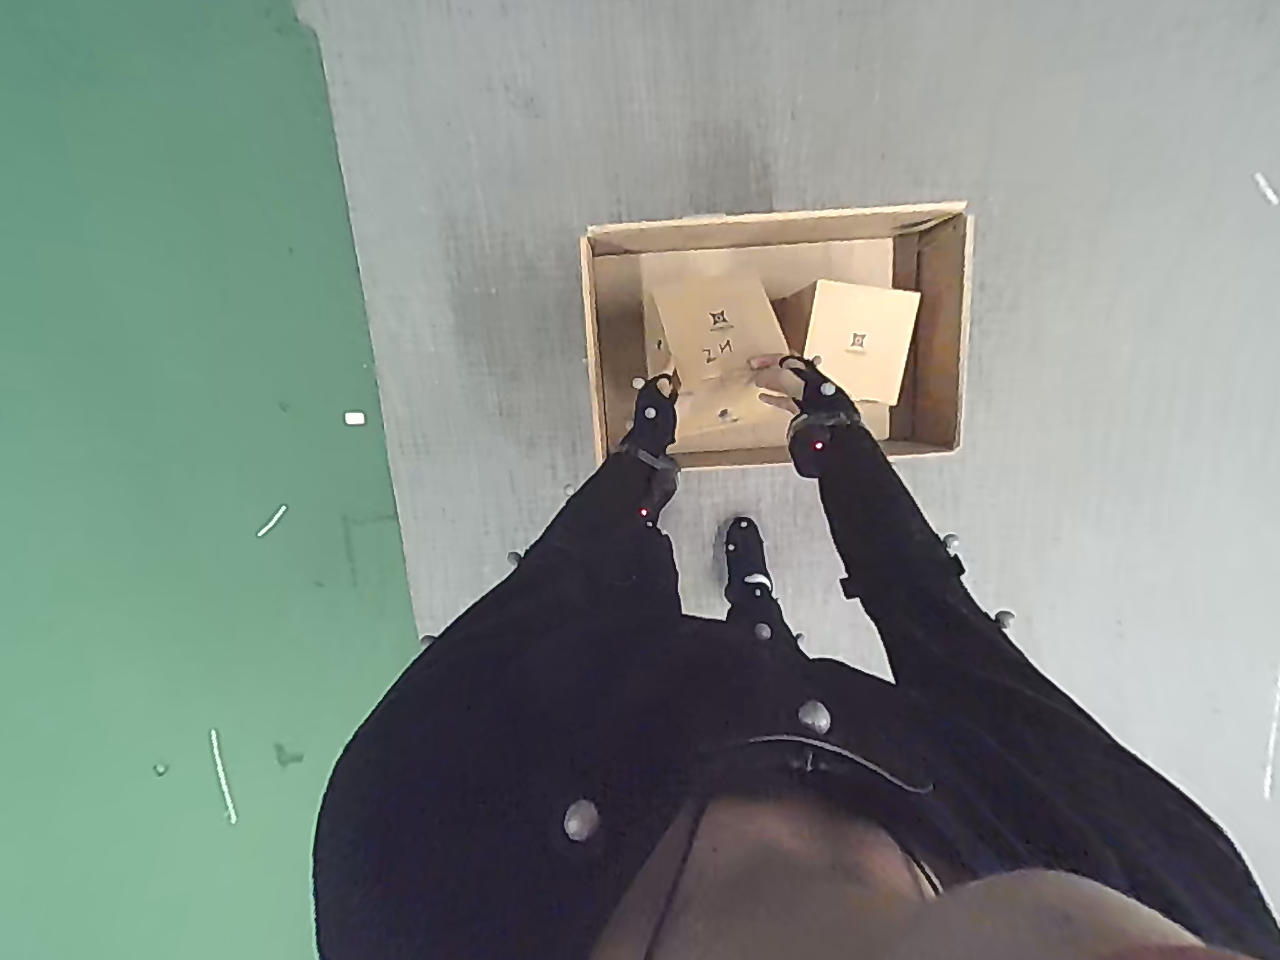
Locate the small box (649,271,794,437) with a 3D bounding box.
[{"bbox_3d":[0.113,-0.190,0.839,0.168,0.176,0.179,-11,68,-7],"label":"small box"}]
